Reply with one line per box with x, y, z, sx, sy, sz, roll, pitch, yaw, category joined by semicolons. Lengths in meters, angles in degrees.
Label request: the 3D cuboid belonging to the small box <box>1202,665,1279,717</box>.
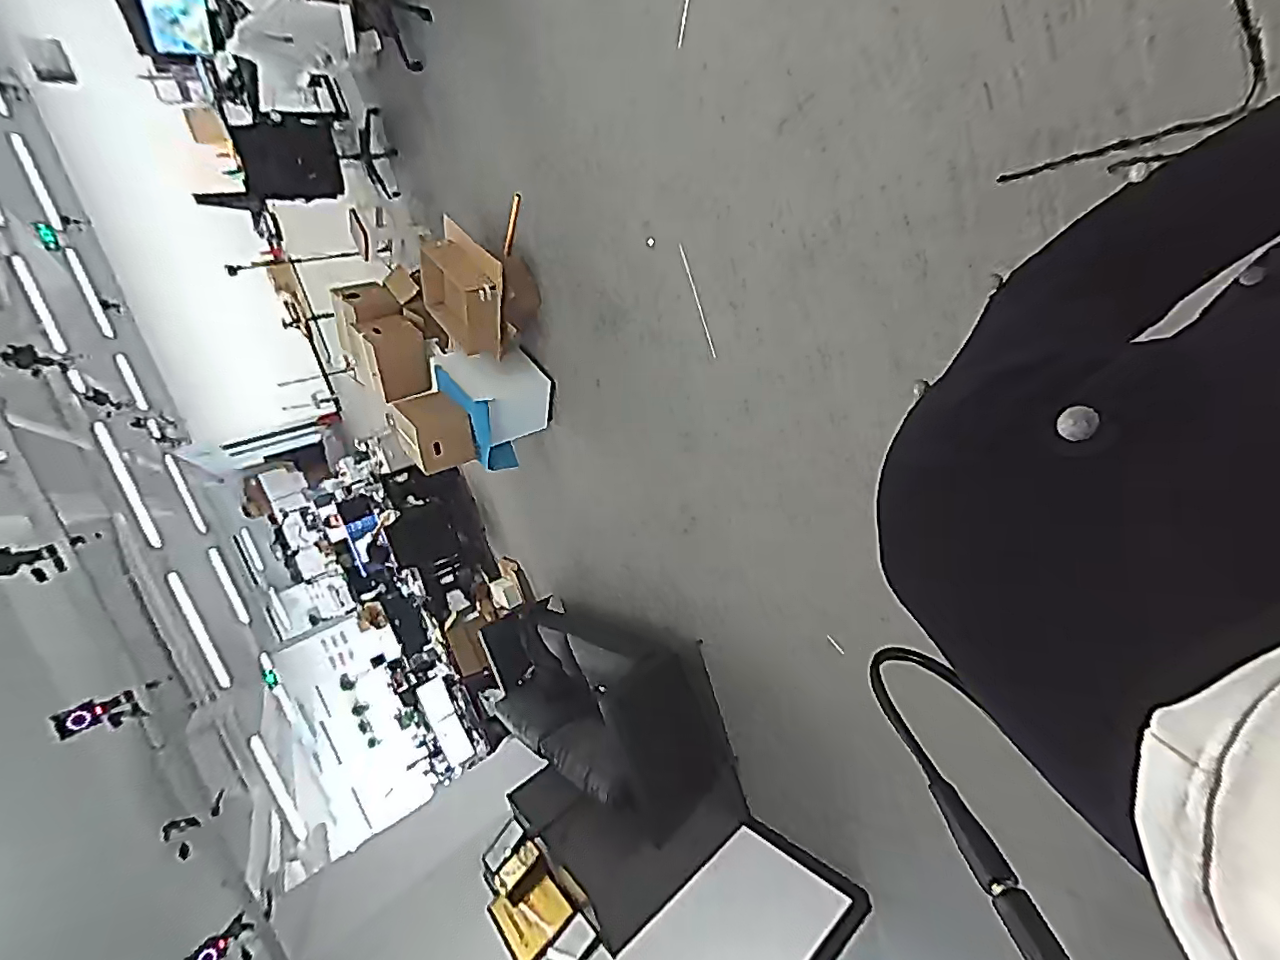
1.393;0.537;1.197;0.179;0.176;0.168;-2;108;56;small box

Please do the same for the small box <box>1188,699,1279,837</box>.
1.263;0.587;1.111;0.168;0.176;0.179;1;110;55;small box
